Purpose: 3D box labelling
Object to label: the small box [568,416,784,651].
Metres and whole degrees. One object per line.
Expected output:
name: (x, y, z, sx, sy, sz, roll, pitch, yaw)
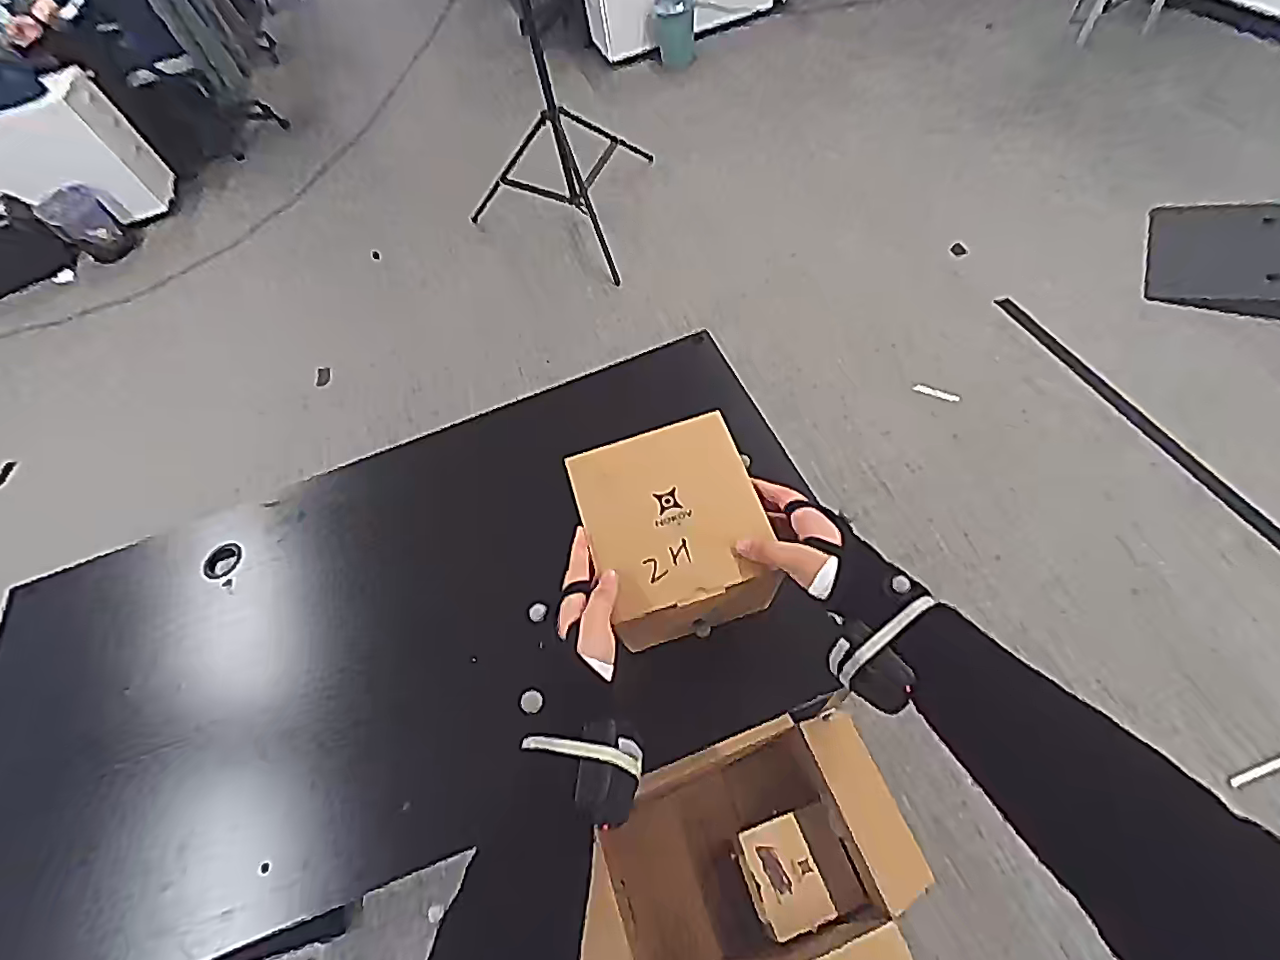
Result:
small box: (0.034, 0.065, 0.582, 0.168, 0.176, 0.179, -18, 64, -2)
